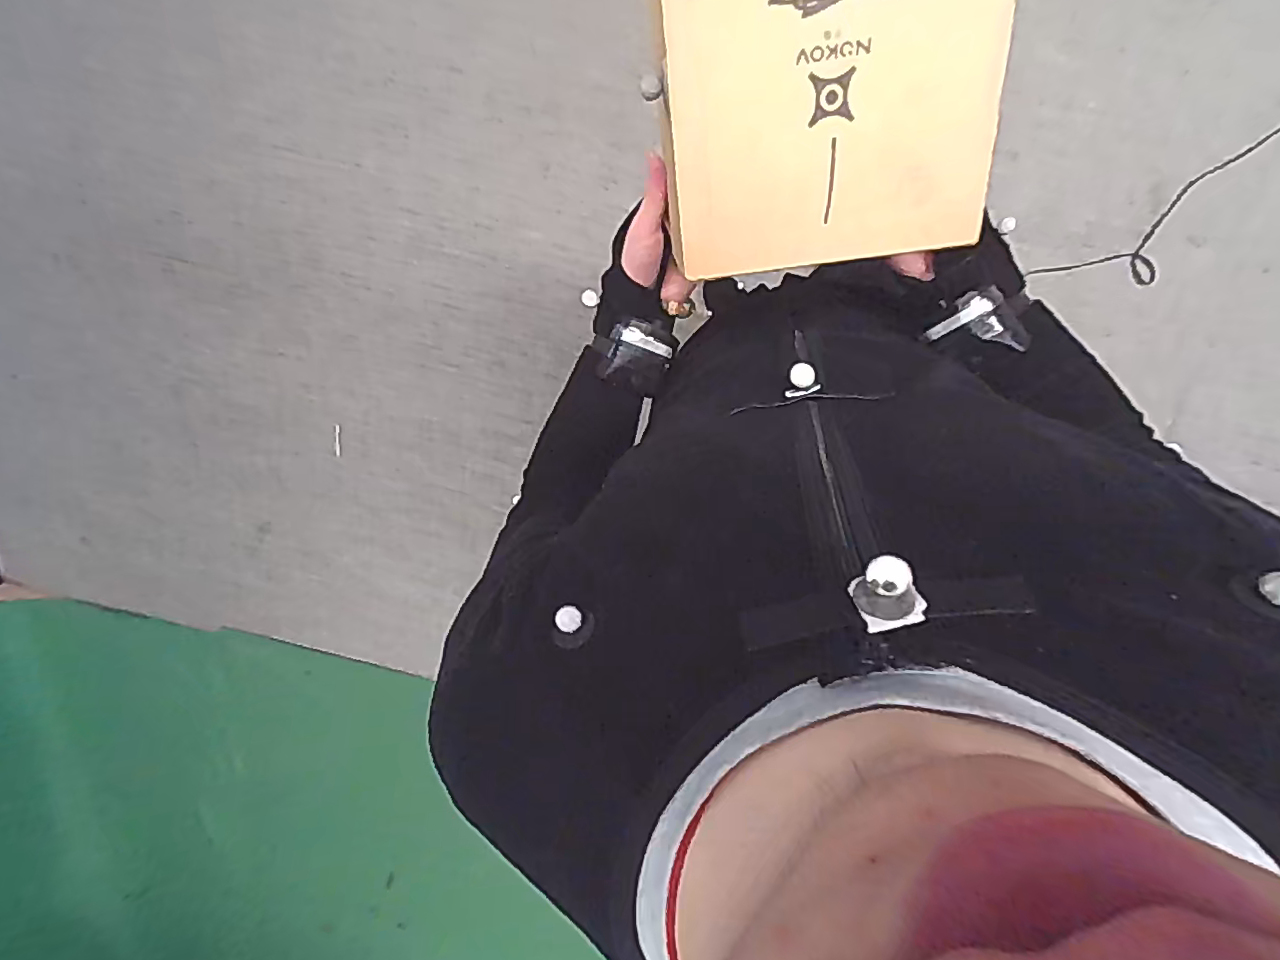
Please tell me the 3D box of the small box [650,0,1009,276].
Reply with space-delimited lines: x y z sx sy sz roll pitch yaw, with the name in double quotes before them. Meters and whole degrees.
"small box" 0.096 -0.239 0.340 0.168 0.176 0.179 -5 119 4
